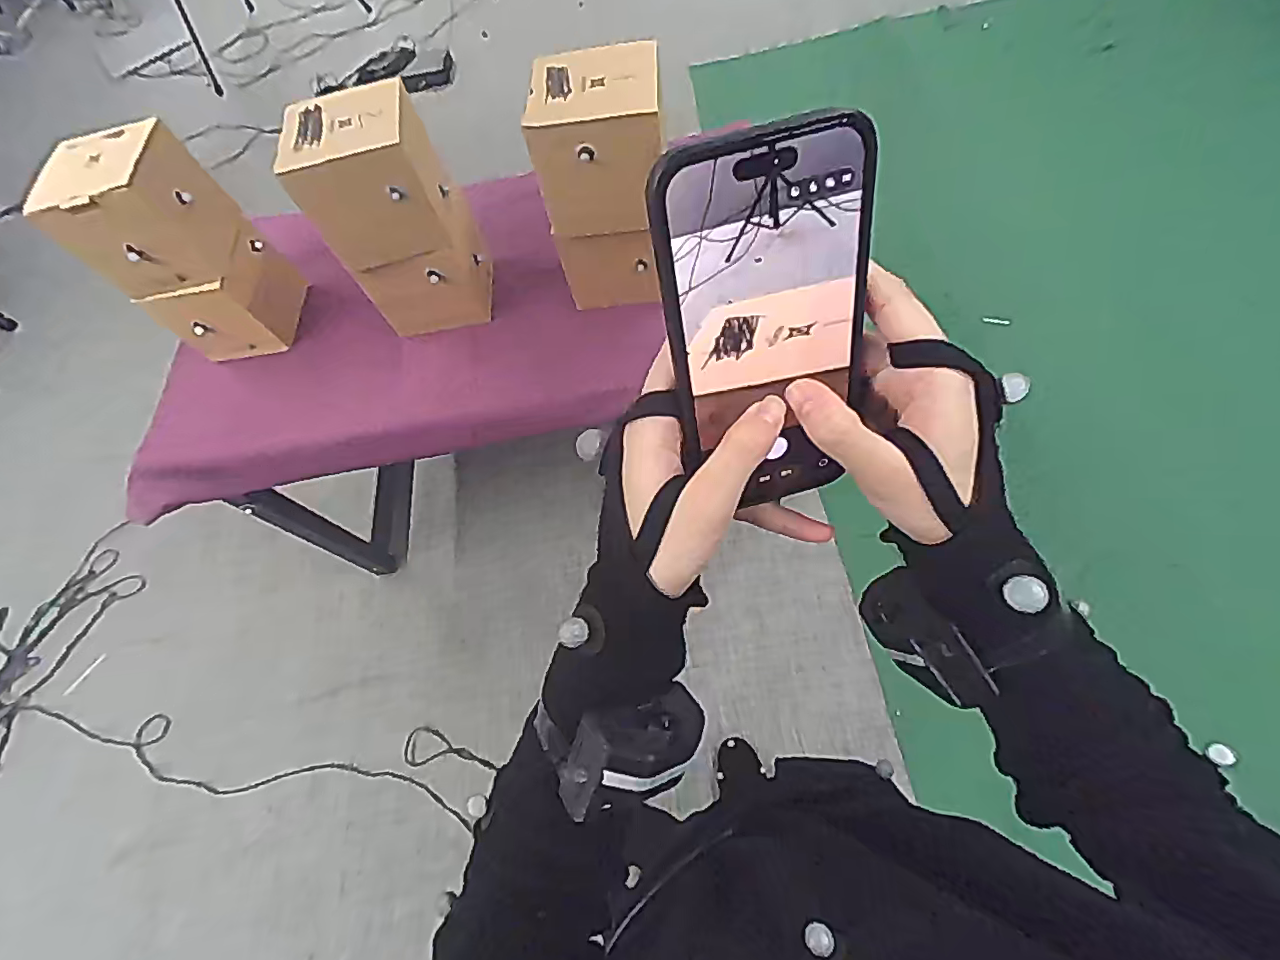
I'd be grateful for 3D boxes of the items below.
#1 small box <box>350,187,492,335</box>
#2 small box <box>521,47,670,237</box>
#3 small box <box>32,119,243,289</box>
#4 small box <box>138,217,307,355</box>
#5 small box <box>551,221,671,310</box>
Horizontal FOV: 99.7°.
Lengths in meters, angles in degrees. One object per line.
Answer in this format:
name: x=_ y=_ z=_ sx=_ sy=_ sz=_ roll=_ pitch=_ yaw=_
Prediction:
small box: x=-0.377 y=-0.384 z=0.967 sx=0.179 sy=0.176 sz=0.168 roll=-7 pitch=63 yaw=5
small box: x=-0.052 y=-0.474 z=0.778 sx=0.179 sy=0.176 sz=0.168 roll=-2 pitch=63 yaw=7
small box: x=-0.787 y=-0.431 z=0.871 sx=0.168 sy=0.176 sz=0.179 roll=-11 pitch=63 yaw=3
small box: x=-0.763 y=-0.351 z=1.013 sx=0.168 sy=0.176 sz=0.179 roll=-7 pitch=63 yaw=5
small box: x=-0.039 y=-0.415 z=0.930 sx=0.179 sy=0.176 sz=0.168 roll=-2 pitch=63 yaw=8
